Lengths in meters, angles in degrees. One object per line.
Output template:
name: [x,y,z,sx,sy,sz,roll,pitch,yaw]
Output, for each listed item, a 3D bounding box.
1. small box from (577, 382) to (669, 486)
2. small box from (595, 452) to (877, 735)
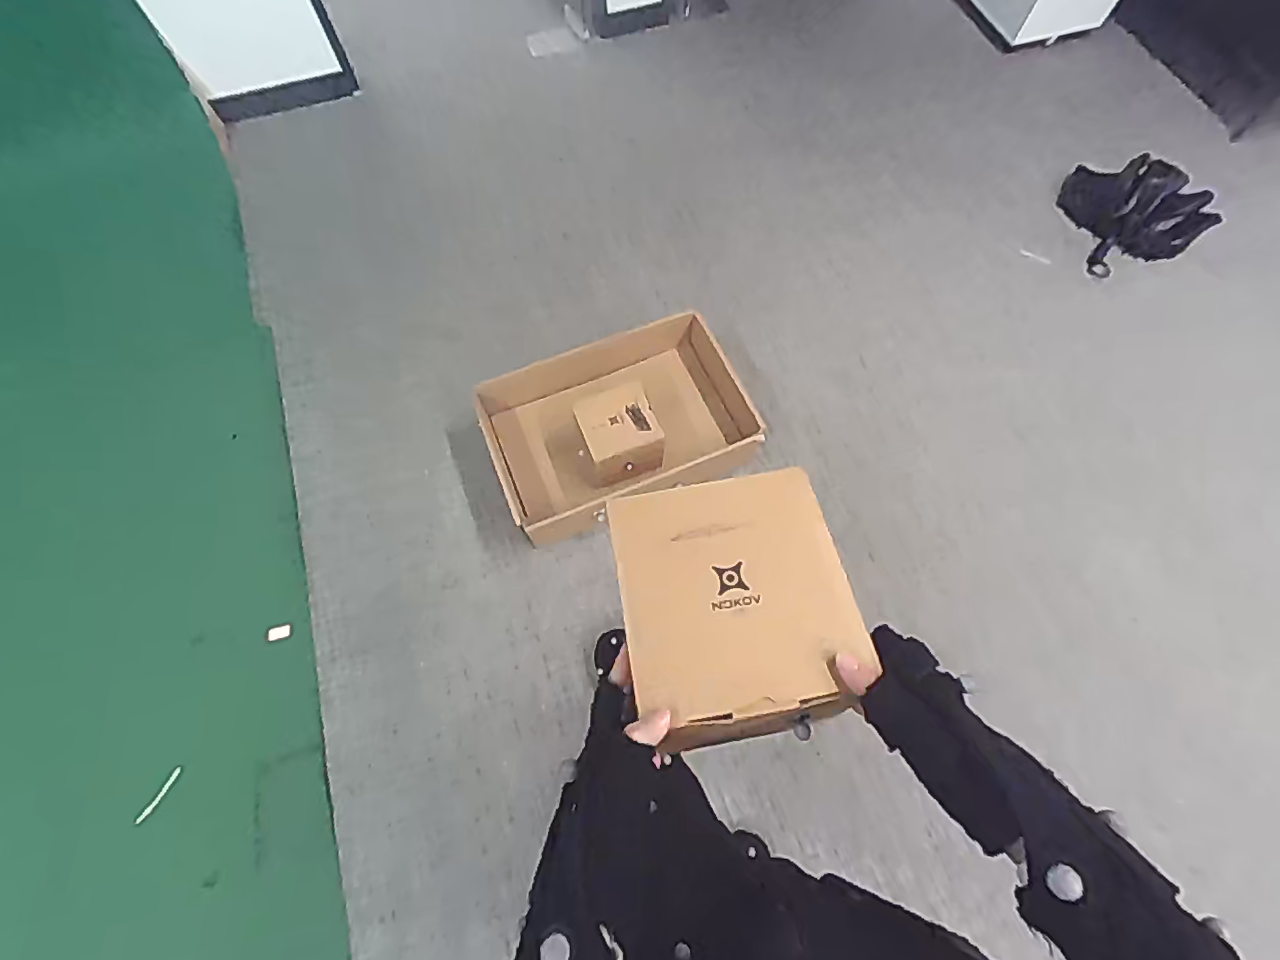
small box: [-0.040,-0.109,1.332,0.179,0.176,0.168,-21,69,-6]
small box: [0.067,0.107,0.462,0.168,0.176,0.179,-14,60,-3]
